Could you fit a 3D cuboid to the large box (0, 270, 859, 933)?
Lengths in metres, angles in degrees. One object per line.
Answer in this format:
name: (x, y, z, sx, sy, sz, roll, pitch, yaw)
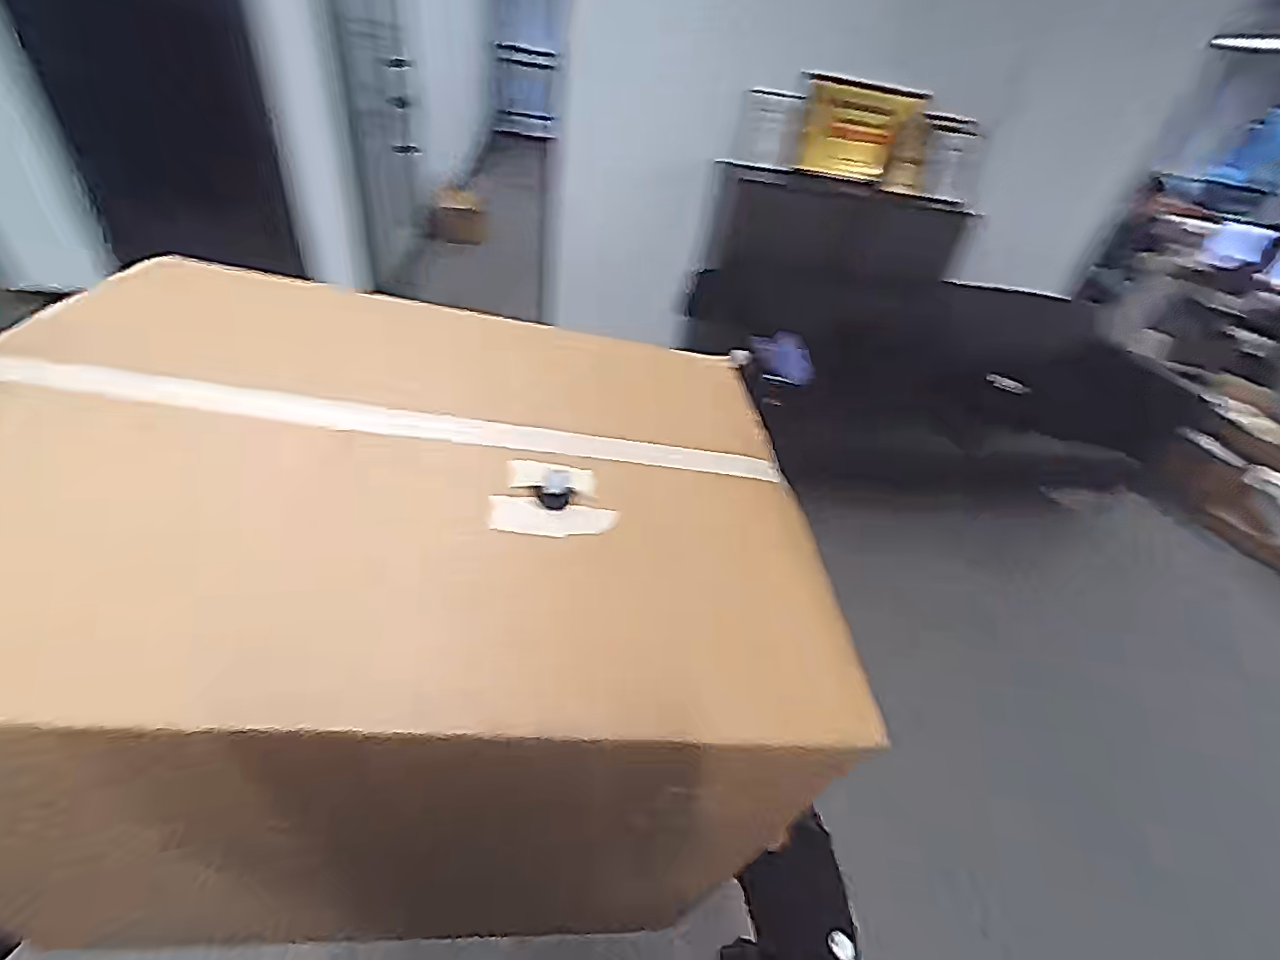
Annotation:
large box: (-0.143, 0.090, 0.393, 0.408, 0.320, 0.320, 8, 40, -12)
